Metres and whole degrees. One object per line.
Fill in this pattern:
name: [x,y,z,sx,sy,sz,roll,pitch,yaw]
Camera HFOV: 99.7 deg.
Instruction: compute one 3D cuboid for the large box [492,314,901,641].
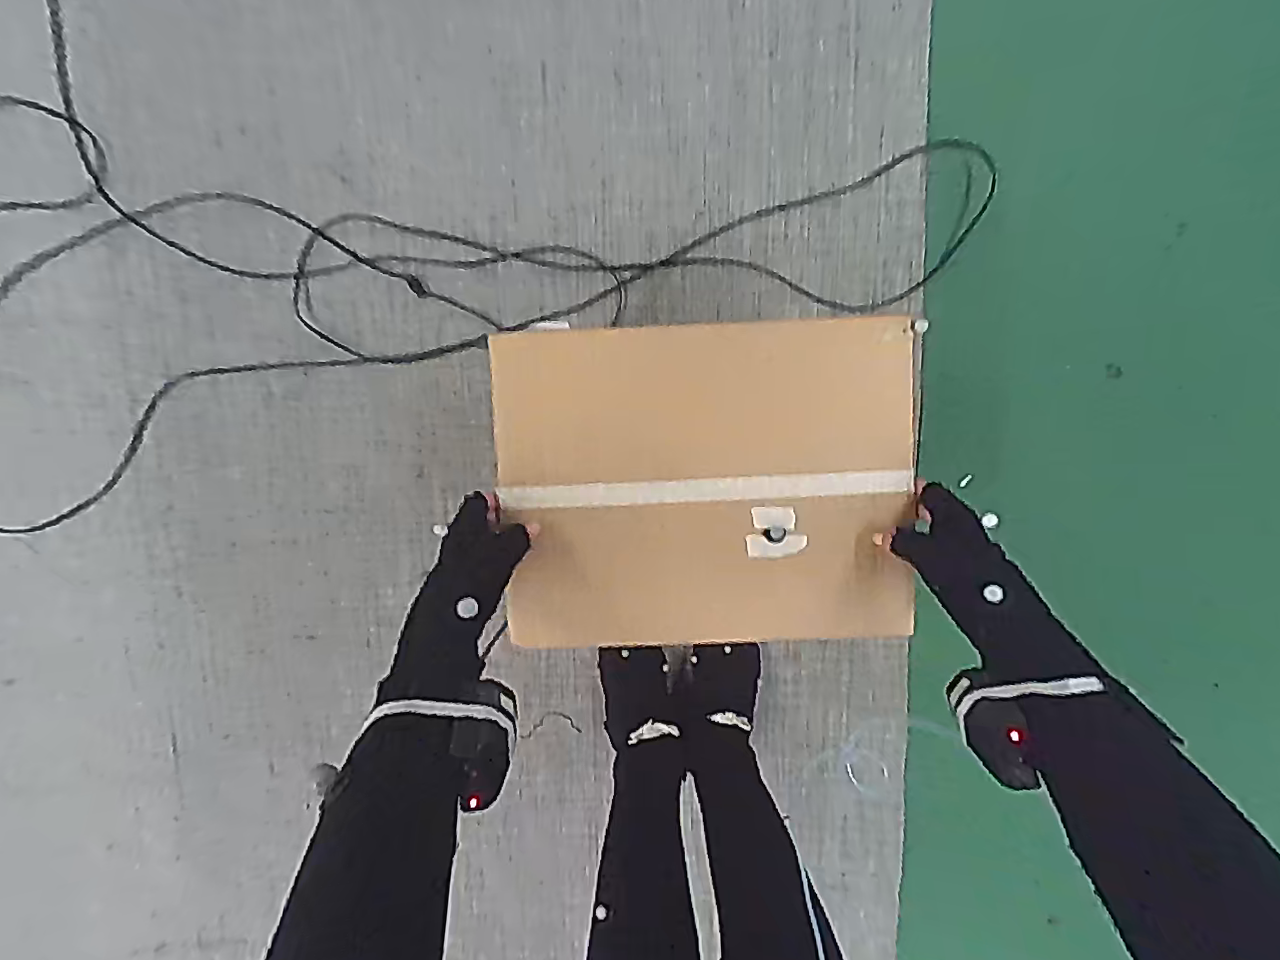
large box: [0.060,-0.011,0.688,0.408,0.320,0.320,-3,96,0]
